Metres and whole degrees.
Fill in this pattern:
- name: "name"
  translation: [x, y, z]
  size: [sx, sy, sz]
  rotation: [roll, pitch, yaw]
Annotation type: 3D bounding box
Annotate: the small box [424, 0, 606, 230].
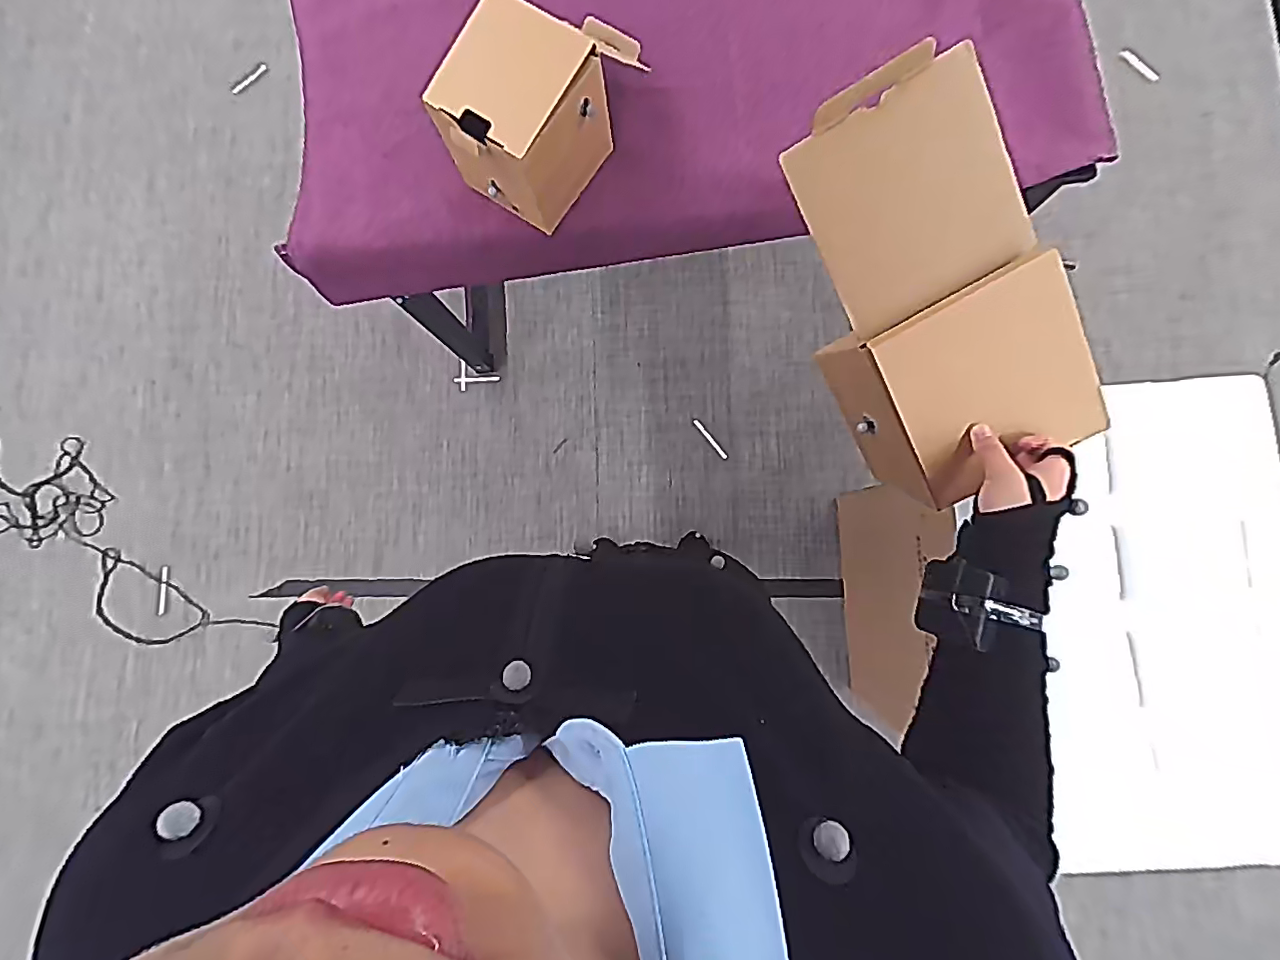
- name: "small box"
  translation: [-0.162, -0.505, 0.771]
  size: [0.168, 0.176, 0.179]
  rotation: [34, 86, 7]
